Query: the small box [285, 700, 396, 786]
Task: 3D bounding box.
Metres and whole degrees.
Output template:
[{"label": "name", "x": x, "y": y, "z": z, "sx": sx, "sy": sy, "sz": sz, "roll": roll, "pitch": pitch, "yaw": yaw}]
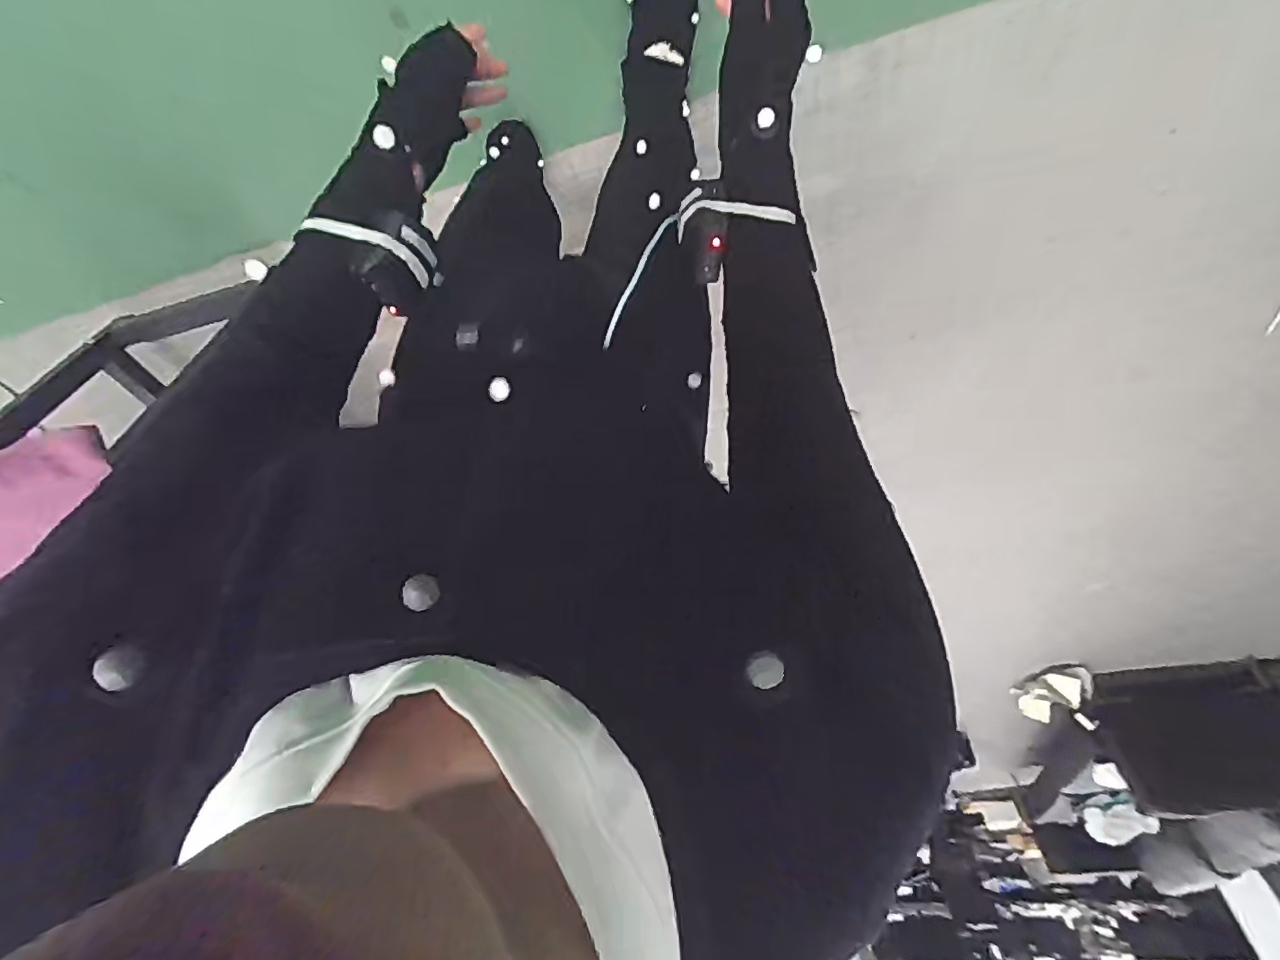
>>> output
[{"label": "small box", "x": -0.804, "y": 0.714, "z": 1.471, "sx": 0.179, "sy": 0.176, "sz": 0.168, "roll": -10, "pitch": 137, "yaw": 11}]
